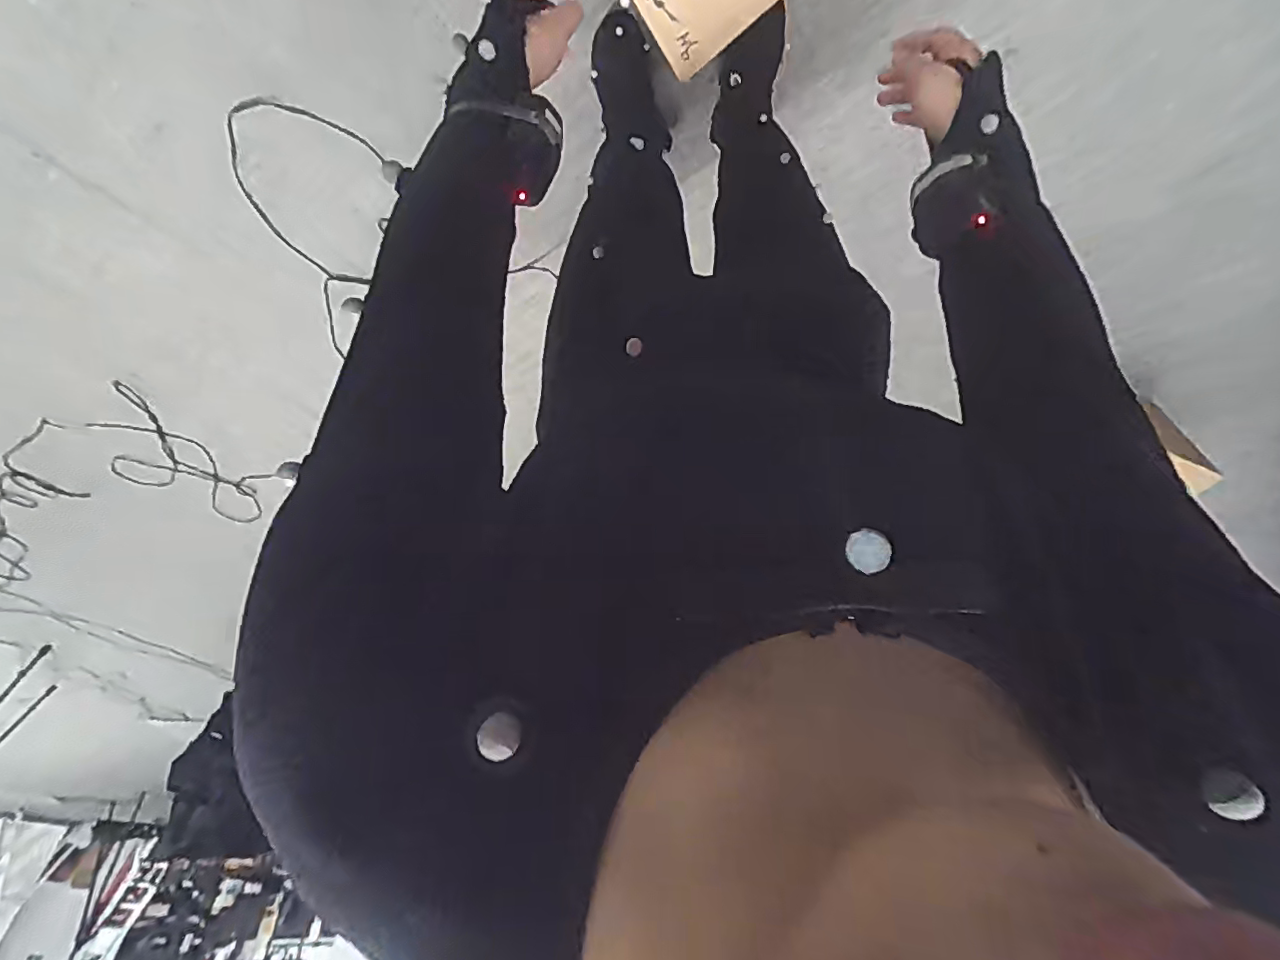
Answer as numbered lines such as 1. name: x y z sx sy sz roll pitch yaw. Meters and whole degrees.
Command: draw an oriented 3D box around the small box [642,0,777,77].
1. small box: 0.074 -0.623 0.621 0.179 0.176 0.168 -27 132 26
